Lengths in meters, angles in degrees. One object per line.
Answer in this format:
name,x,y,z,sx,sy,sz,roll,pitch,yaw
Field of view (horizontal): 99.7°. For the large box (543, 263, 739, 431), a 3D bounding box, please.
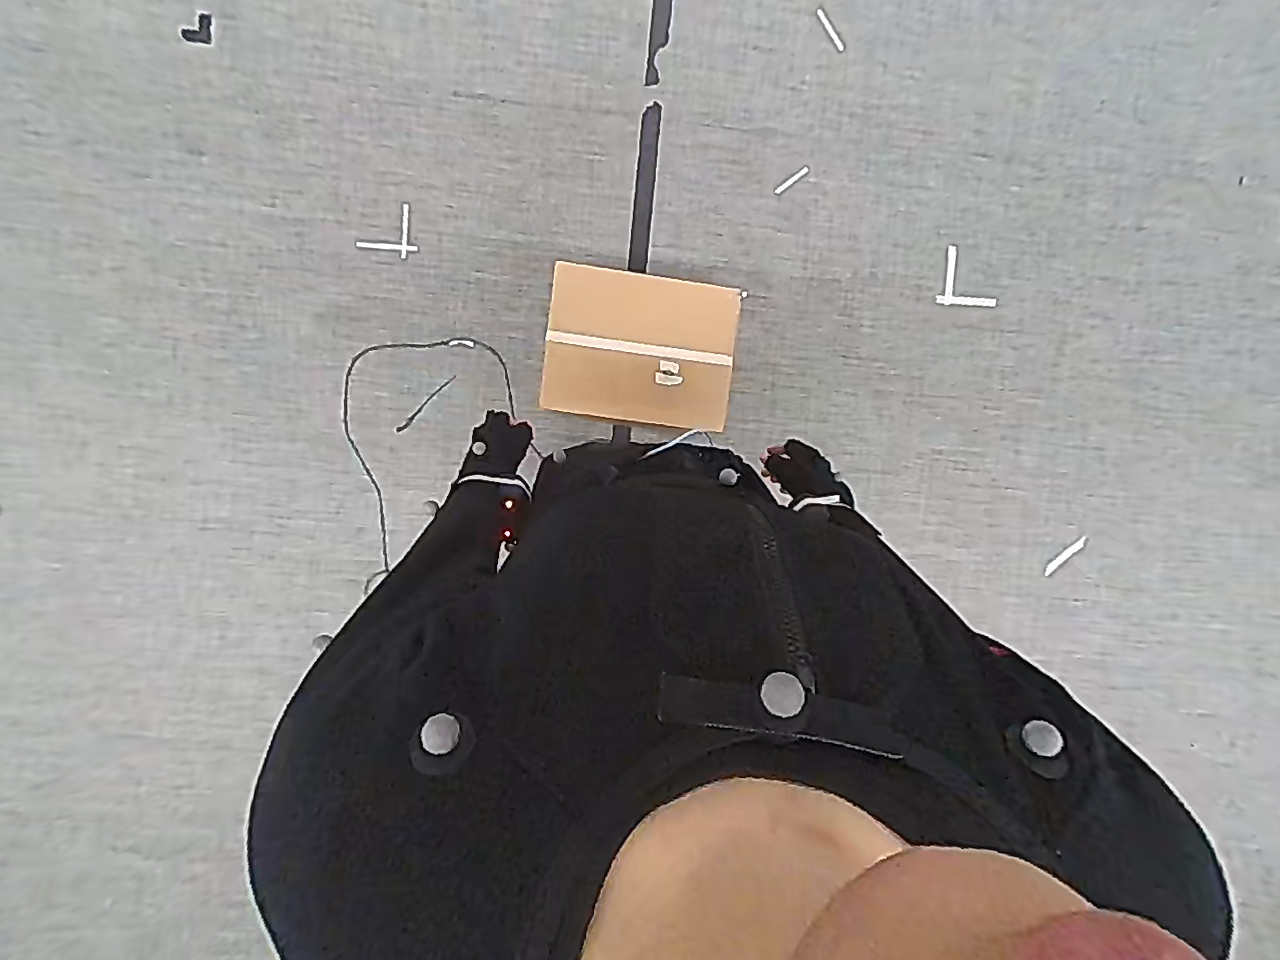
large box,-0.011,-0.298,1.320,0.408,0.320,0.320,7,94,-5
